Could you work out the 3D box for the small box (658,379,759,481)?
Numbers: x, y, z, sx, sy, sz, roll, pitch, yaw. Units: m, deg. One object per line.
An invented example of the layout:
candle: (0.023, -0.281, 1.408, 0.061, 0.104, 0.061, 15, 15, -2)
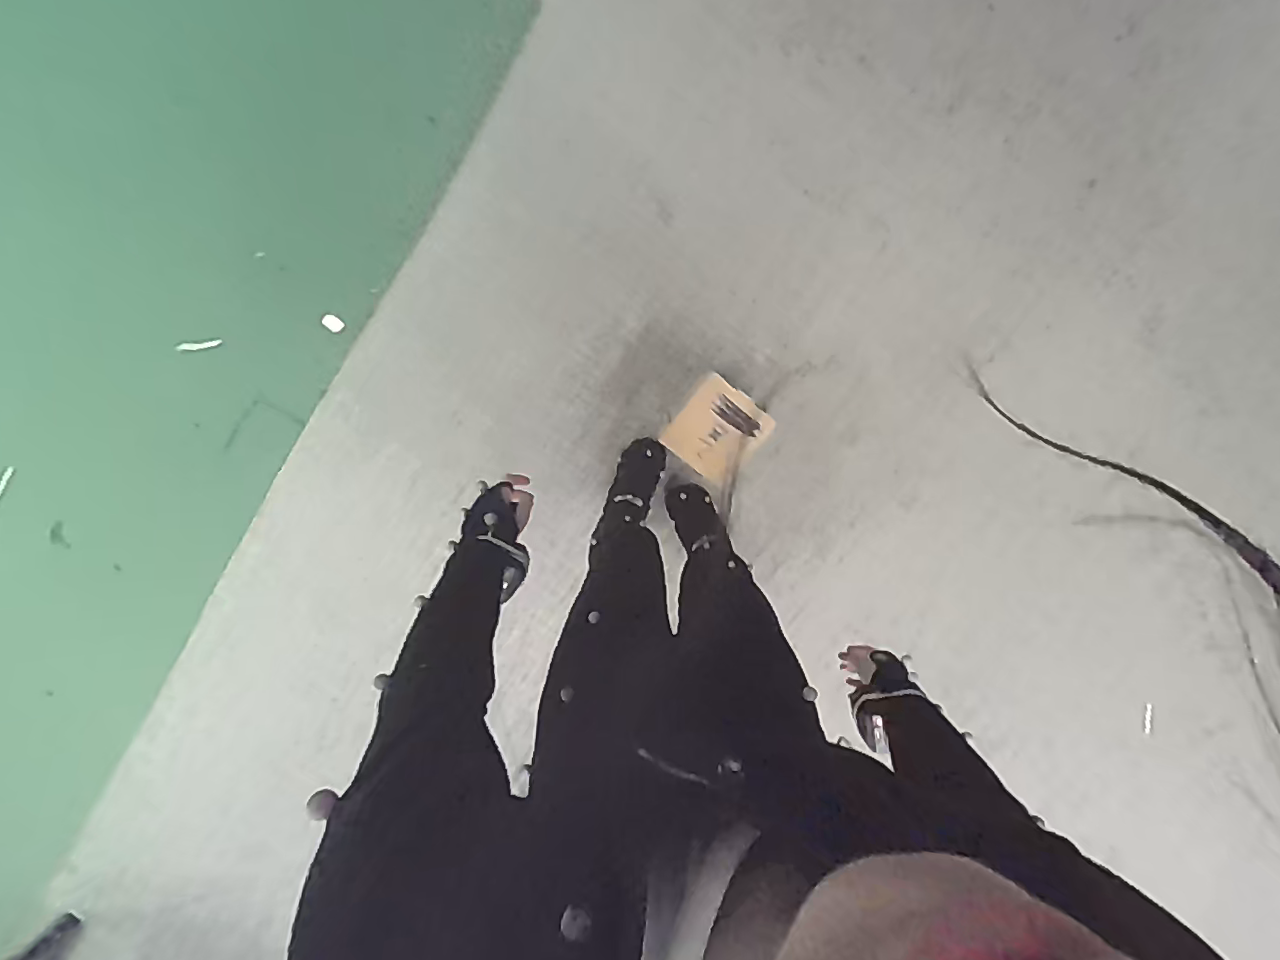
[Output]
small box: (0.162, -0.124, 1.301, 0.168, 0.176, 0.179, 36, 100, -3)
